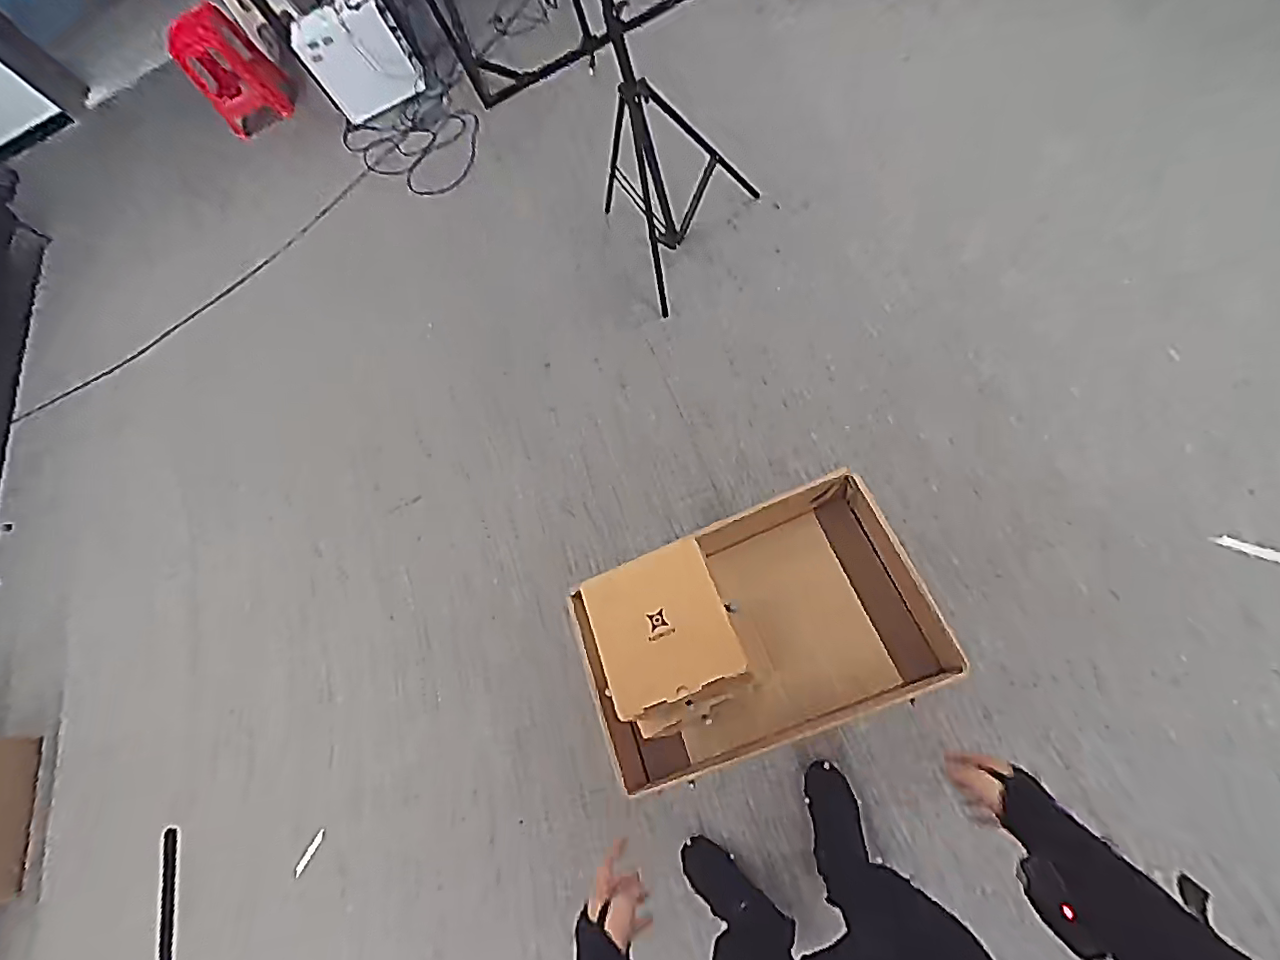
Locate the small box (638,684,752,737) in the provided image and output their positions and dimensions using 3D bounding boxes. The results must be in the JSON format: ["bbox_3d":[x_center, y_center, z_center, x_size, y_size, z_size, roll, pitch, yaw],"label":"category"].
[{"bbox_3d":[0.067,0.293,0.872,0.168,0.176,0.179,-27,64,3],"label":"small box"}]

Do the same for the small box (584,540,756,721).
[{"bbox_3d":[0.046,0.210,0.731,0.168,0.176,0.179,-24,64,4],"label":"small box"}]
